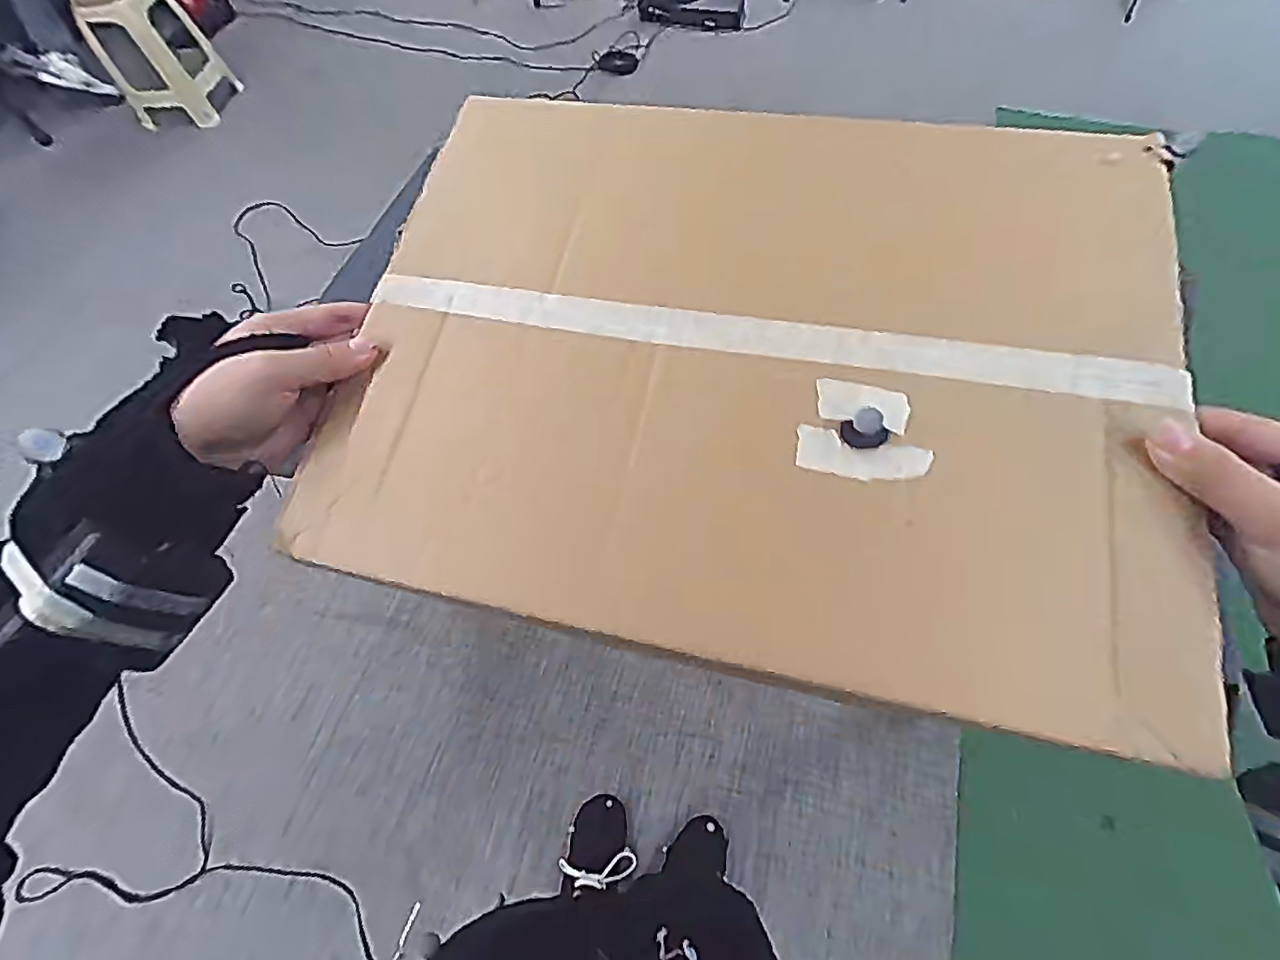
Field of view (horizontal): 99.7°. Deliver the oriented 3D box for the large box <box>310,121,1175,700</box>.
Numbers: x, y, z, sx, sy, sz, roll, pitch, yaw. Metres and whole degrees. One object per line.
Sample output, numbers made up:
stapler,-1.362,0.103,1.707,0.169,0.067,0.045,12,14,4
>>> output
large box,0.064,-0.028,0.434,0.408,0.320,0.320,10,72,9
